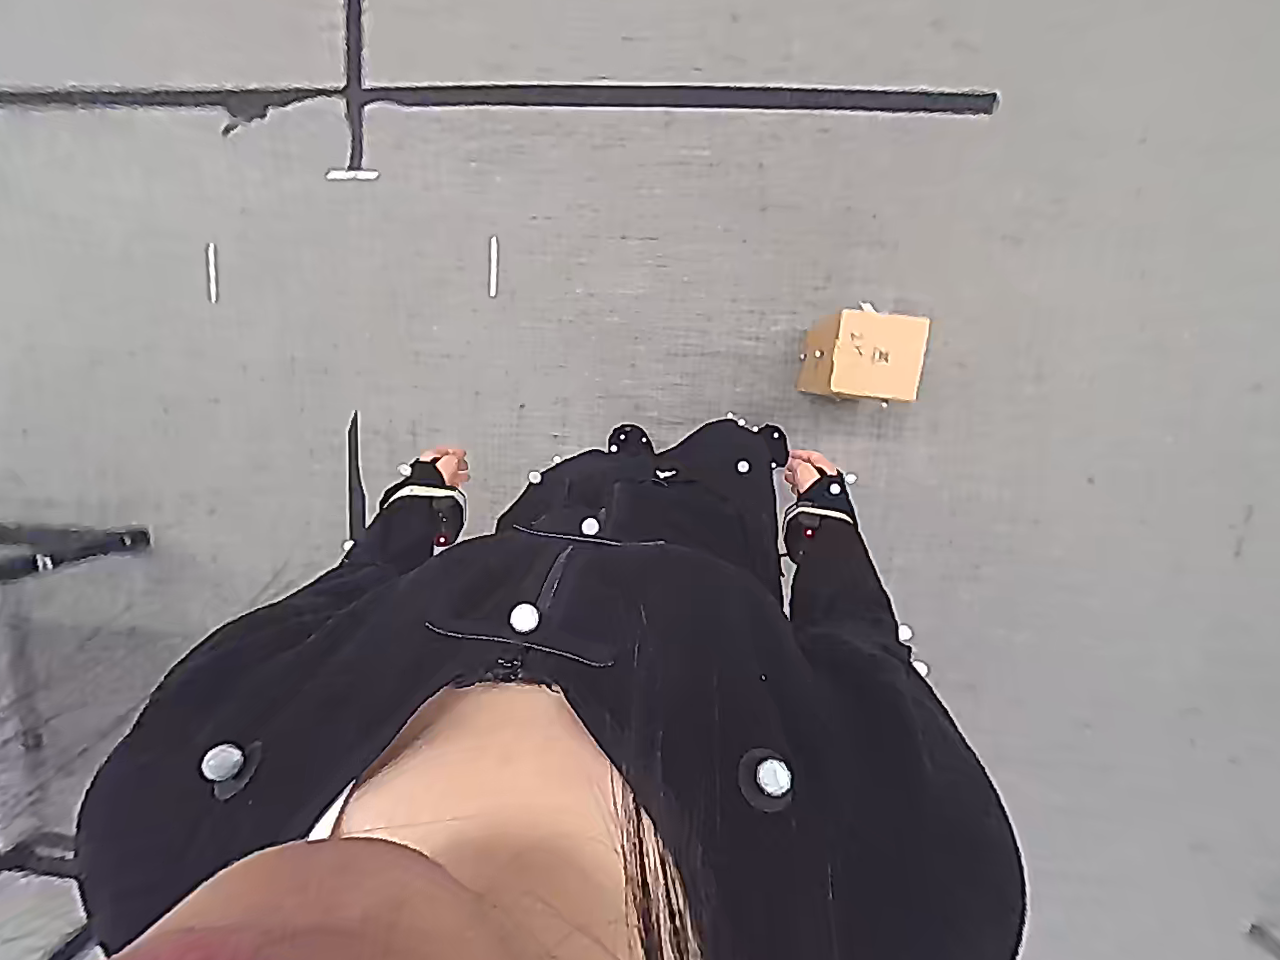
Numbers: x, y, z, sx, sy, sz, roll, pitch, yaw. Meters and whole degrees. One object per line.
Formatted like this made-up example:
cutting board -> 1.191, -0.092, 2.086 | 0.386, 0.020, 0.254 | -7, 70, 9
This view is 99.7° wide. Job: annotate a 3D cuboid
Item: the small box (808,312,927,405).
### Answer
small box -> 0.482, -0.258, 1.171 | 0.179, 0.176, 0.168 | 8, 98, 4
